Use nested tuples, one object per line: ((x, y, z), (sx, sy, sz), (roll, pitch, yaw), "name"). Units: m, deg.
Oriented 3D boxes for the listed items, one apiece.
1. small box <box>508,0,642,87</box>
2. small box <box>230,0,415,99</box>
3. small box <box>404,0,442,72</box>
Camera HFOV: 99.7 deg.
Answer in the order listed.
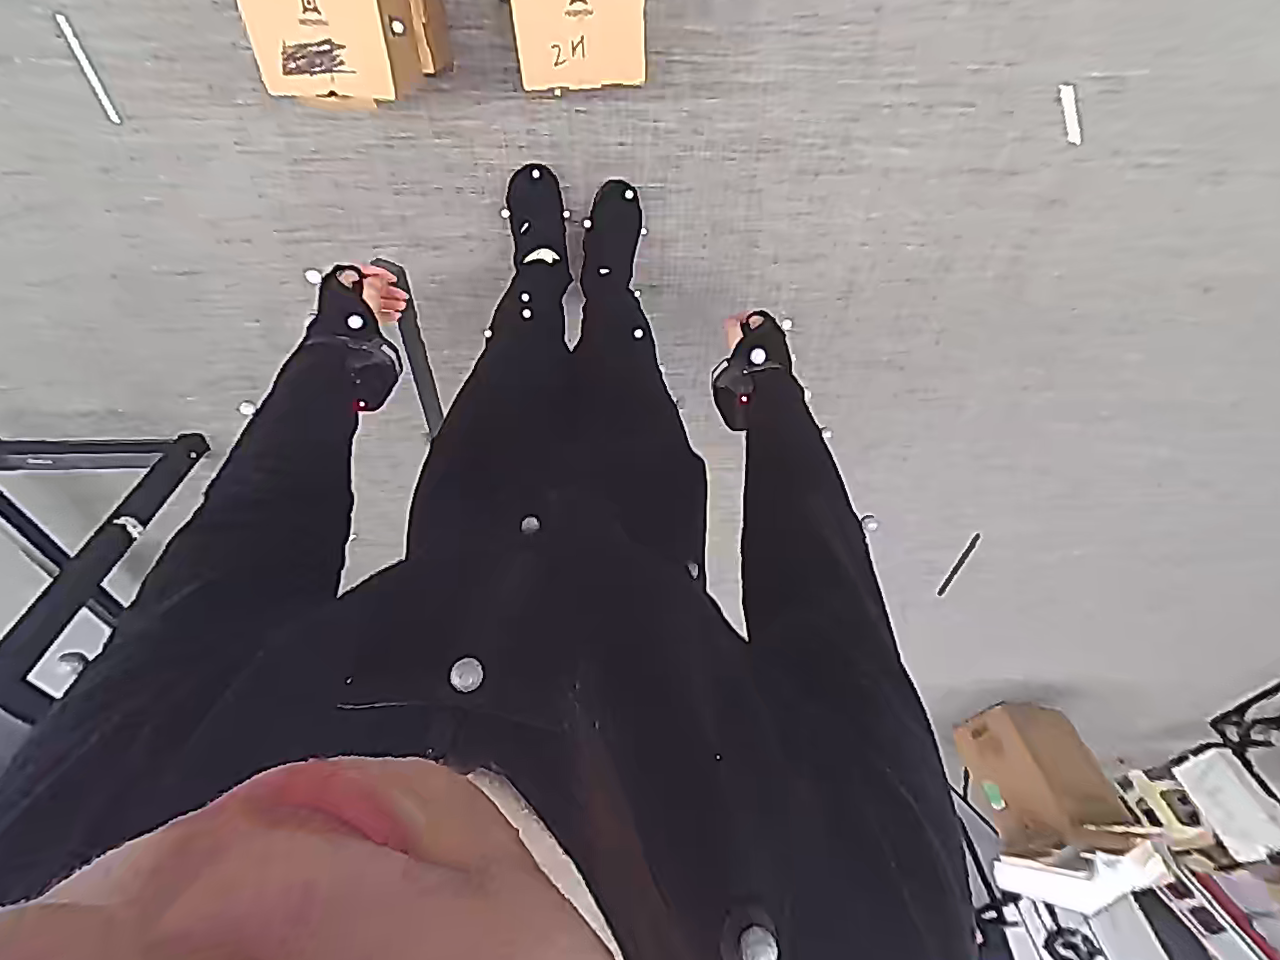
((-0.085, -0.641, 0.714), (0.168, 0.176, 0.179), (-3, 134, -1), "small box")
((-0.409, -0.621, 0.705), (0.168, 0.176, 0.179), (-1, 132, -6), "small box")
((-0.412, -0.736, 0.822), (0.179, 0.176, 0.168), (-3, 134, -3), "small box")
